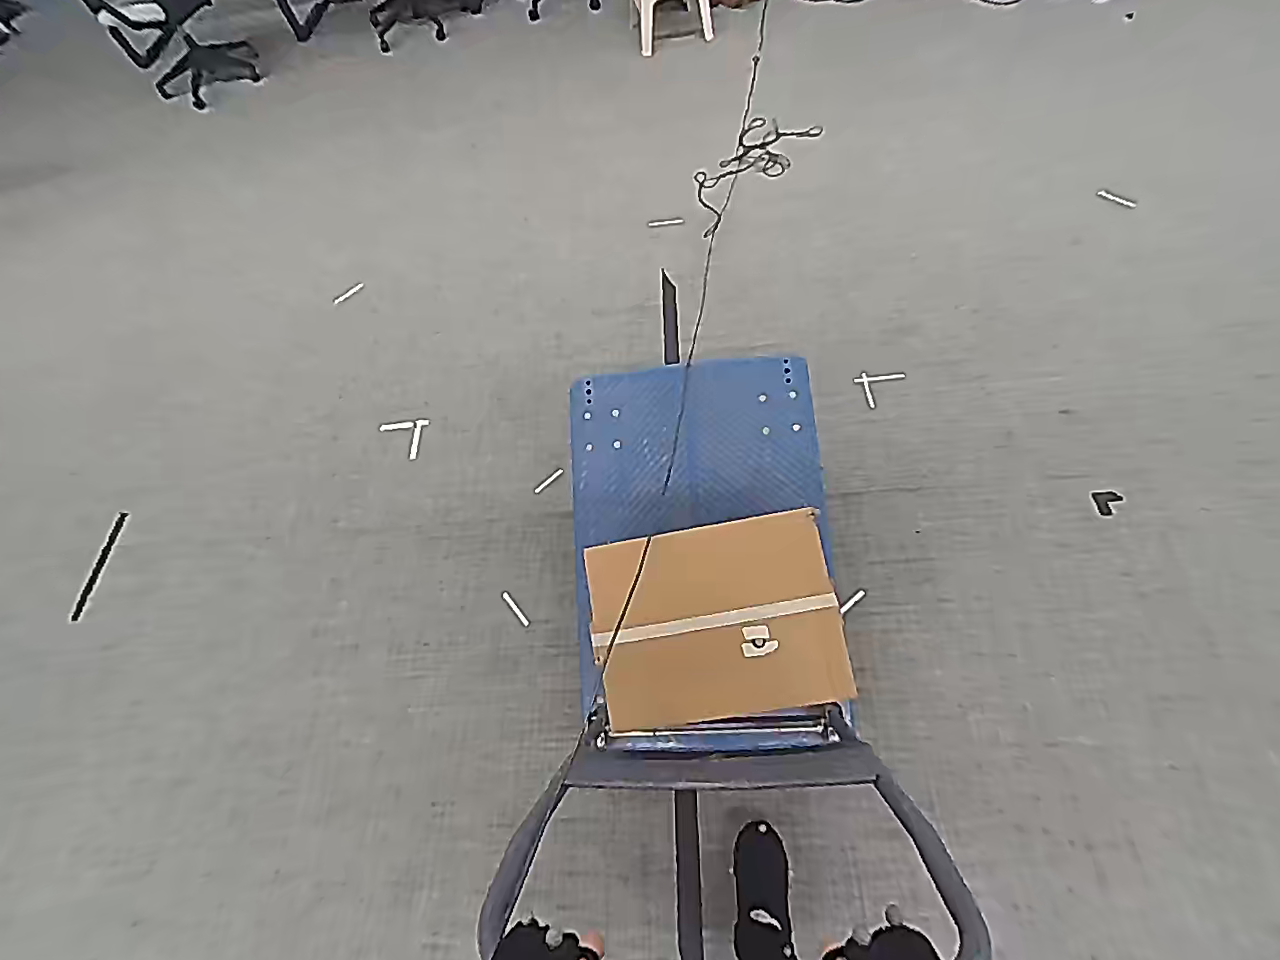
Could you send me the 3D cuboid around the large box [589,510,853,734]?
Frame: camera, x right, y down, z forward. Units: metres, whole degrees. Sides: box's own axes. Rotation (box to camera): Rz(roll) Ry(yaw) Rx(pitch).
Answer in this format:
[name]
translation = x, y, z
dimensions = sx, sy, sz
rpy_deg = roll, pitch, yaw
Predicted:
[large box]
translation = 0.144, 0.268, 1.066
dimensions = 0.408, 0.320, 0.320
rpy_deg = -11, 79, 5
